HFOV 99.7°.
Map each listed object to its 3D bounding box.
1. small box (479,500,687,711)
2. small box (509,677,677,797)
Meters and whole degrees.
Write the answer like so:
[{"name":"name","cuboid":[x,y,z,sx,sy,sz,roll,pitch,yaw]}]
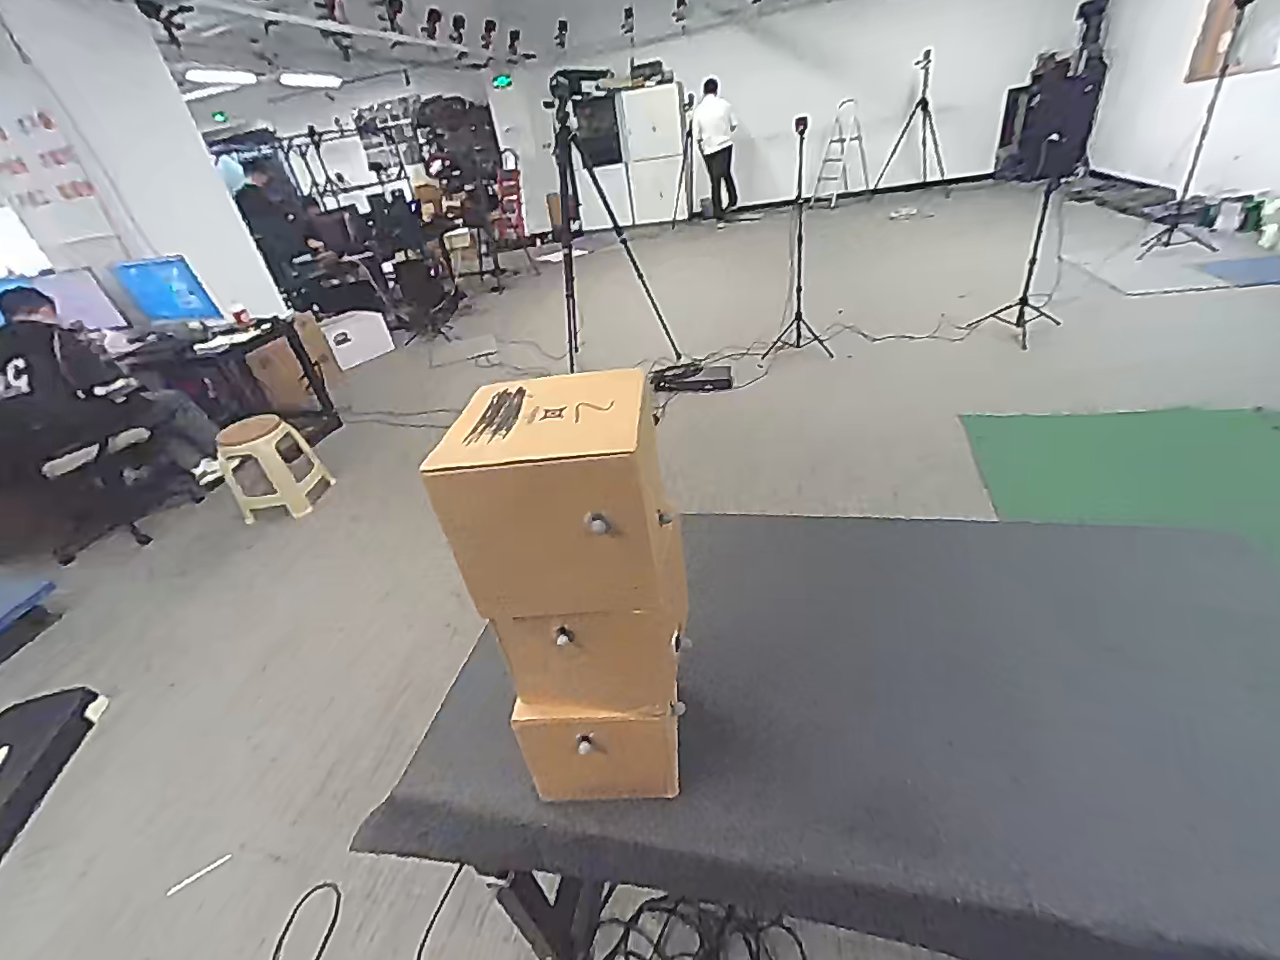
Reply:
[{"name":"small box","cuboid":[-0.049,0.139,0.616,0.179,0.176,0.168,1,35,14]},{"name":"small box","cuboid":[-0.045,0.282,0.694,0.179,0.176,0.168,-5,32,7]}]
